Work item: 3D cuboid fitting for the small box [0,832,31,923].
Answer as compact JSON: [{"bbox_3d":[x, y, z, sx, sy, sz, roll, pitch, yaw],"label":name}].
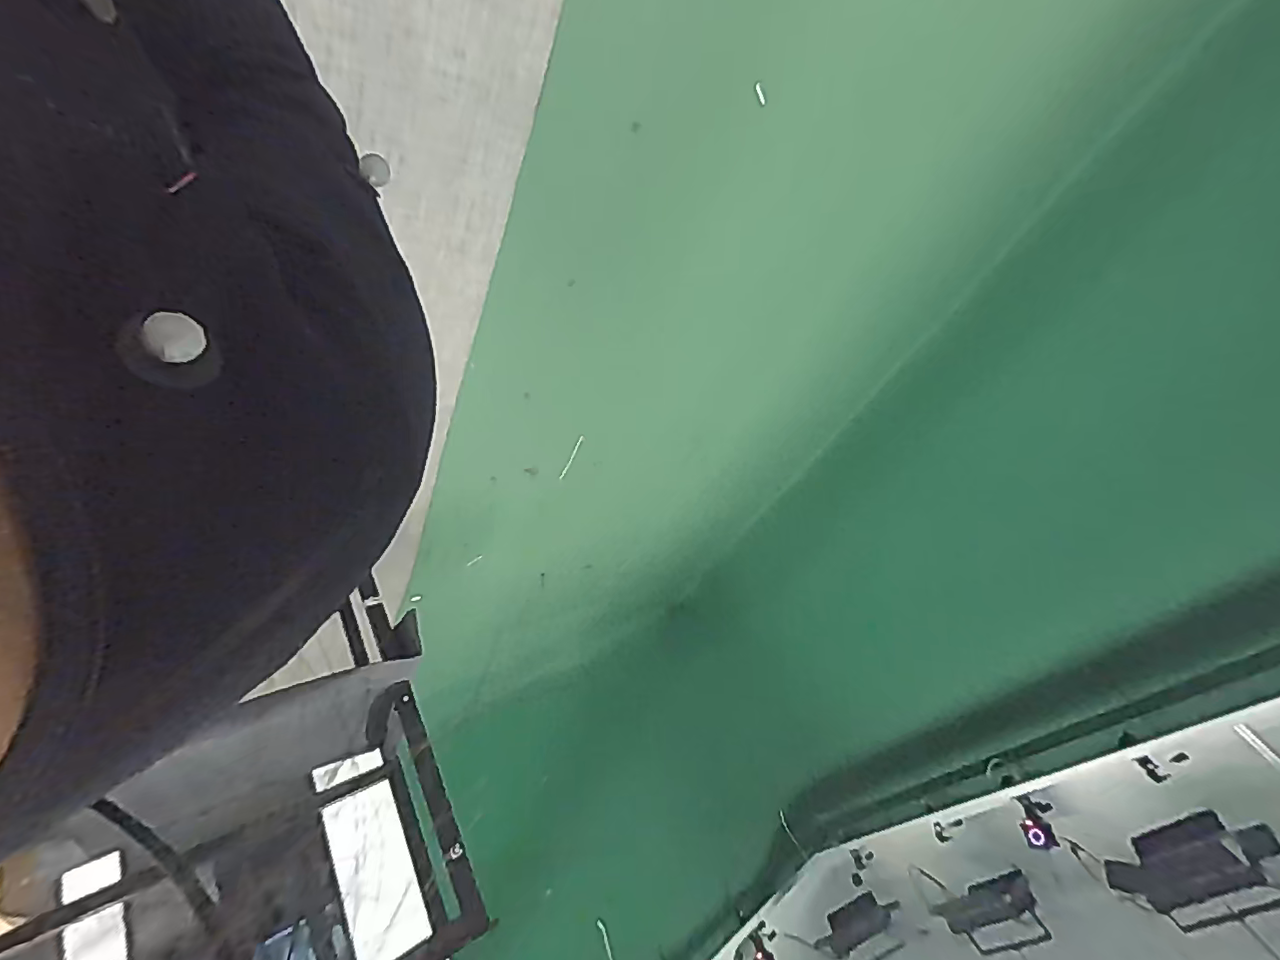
[{"bbox_3d":[-1.546,0.937,1.230,0.168,0.176,0.179,-15,150,-33],"label":"small box"}]
